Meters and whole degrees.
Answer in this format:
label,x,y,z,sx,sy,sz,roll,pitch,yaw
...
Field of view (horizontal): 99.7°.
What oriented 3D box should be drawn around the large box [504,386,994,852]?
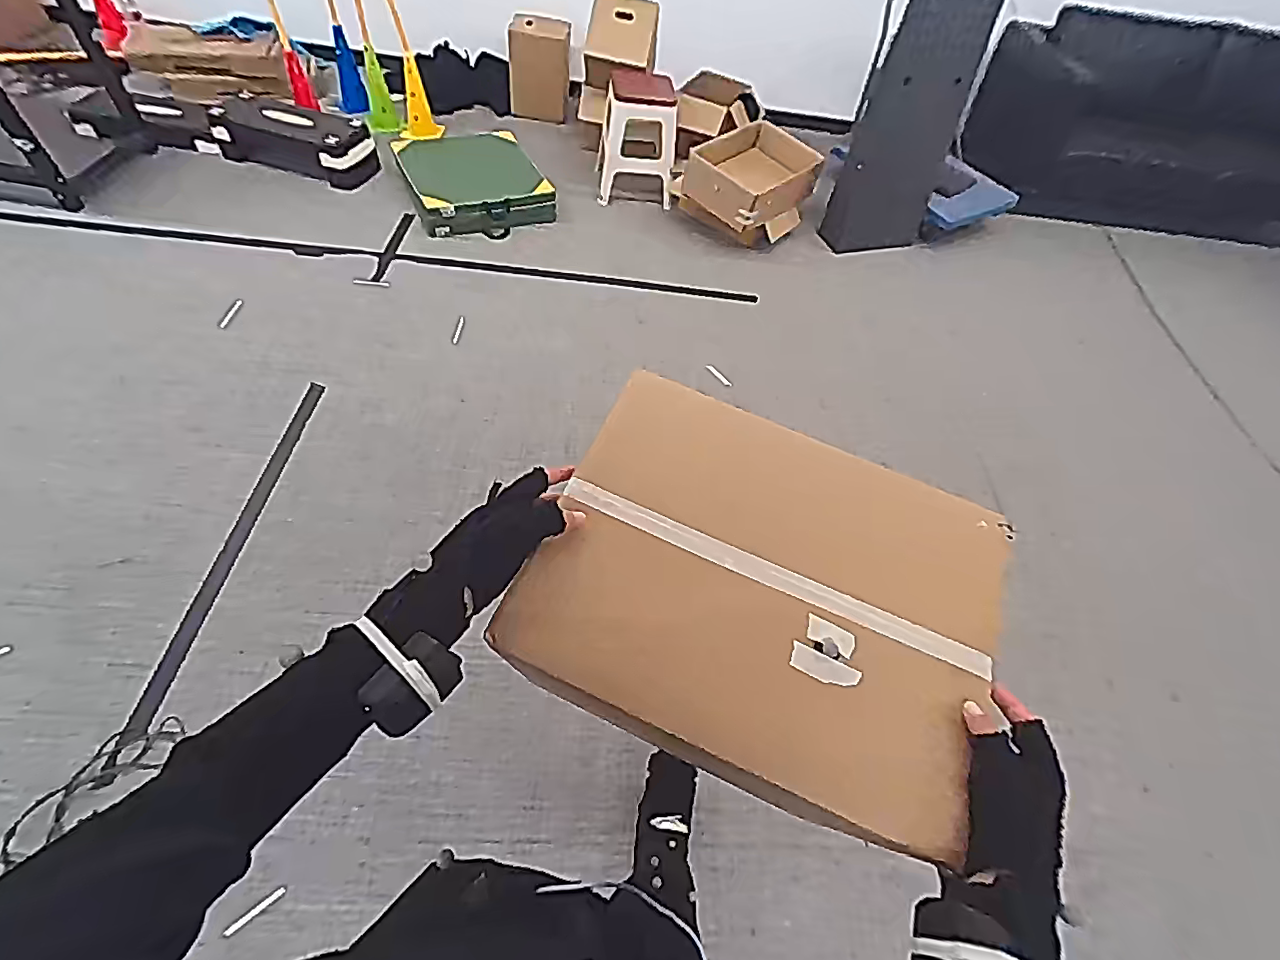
label,x,y,z,sx,sy,sz,roll,pitch,yaw
large box,0.106,0.157,0.638,0.408,0.320,0.320,24,65,6
